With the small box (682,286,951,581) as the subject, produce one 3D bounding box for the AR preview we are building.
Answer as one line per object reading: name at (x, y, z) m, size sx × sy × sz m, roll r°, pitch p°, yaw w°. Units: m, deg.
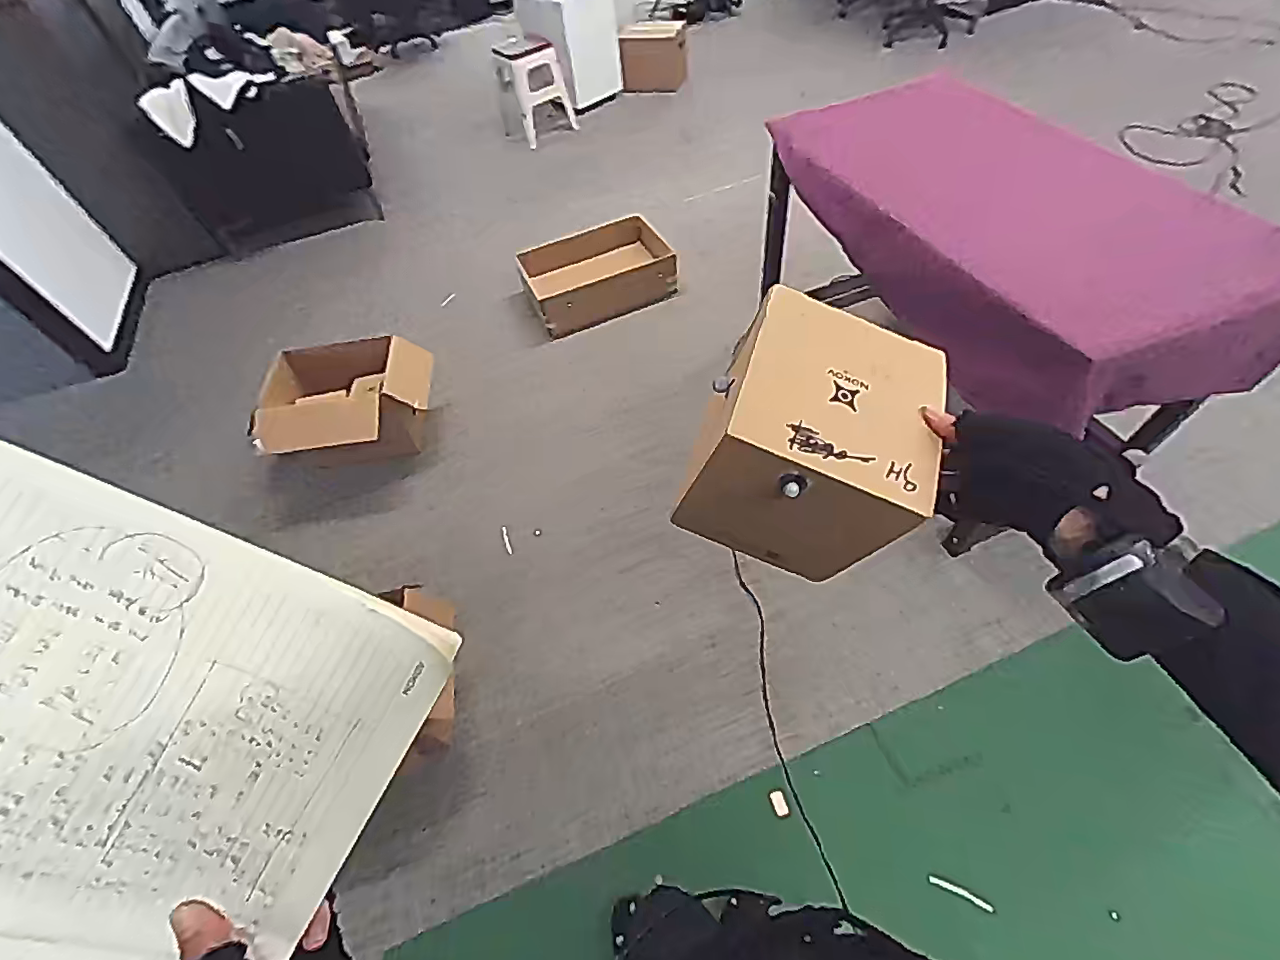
small box at (0.153, -0.033, 0.499) m, size 0.168 × 0.176 × 0.179 m, roll 23°, pitch 60°, yaw -1°
